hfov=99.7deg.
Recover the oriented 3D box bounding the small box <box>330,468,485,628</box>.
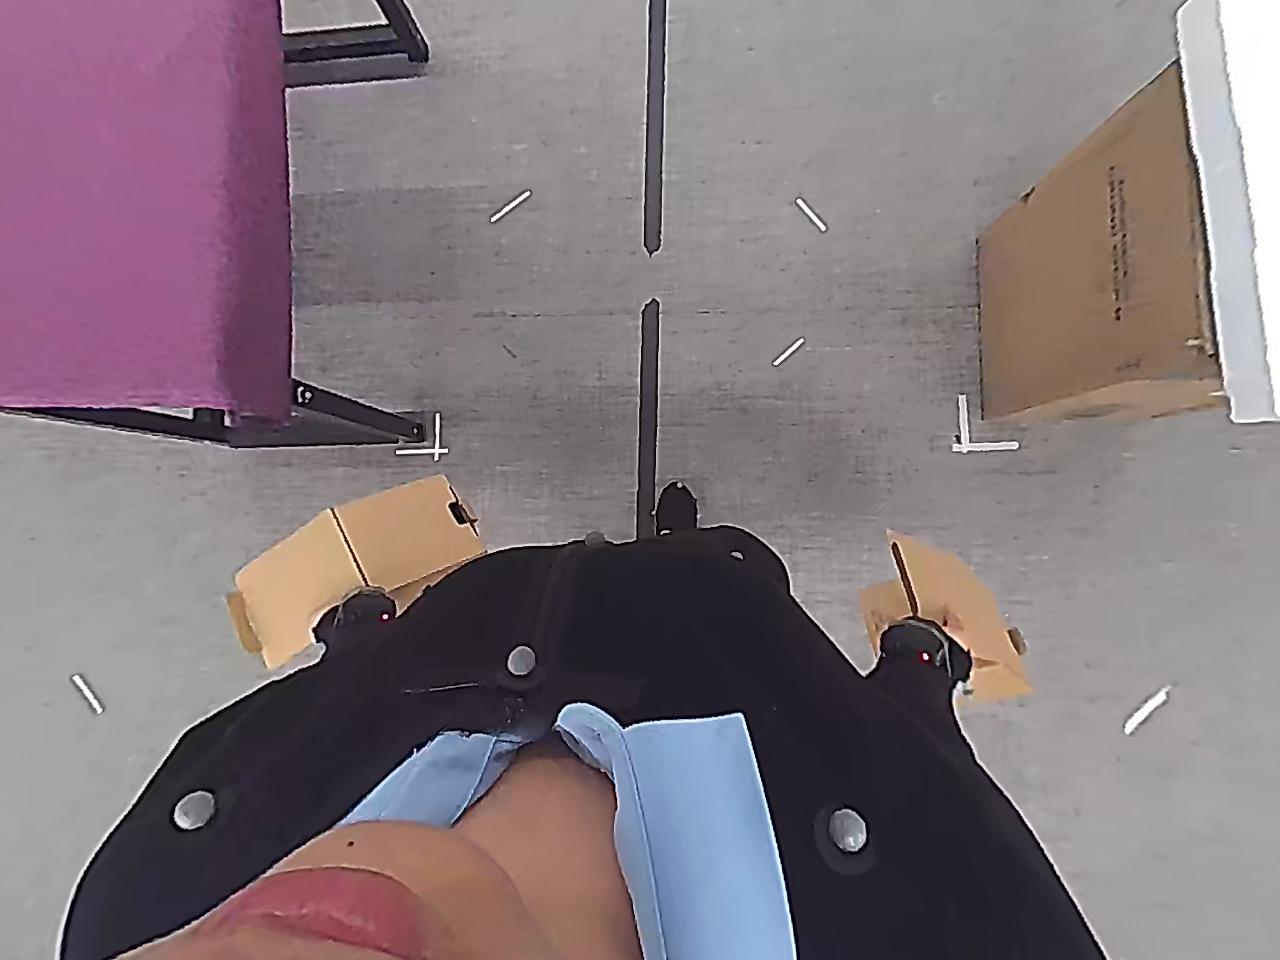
[{"bbox_3d":[-0.372,0.112,0.874,0.179,0.176,0.168,-21,67,-34],"label":"small box"}]
